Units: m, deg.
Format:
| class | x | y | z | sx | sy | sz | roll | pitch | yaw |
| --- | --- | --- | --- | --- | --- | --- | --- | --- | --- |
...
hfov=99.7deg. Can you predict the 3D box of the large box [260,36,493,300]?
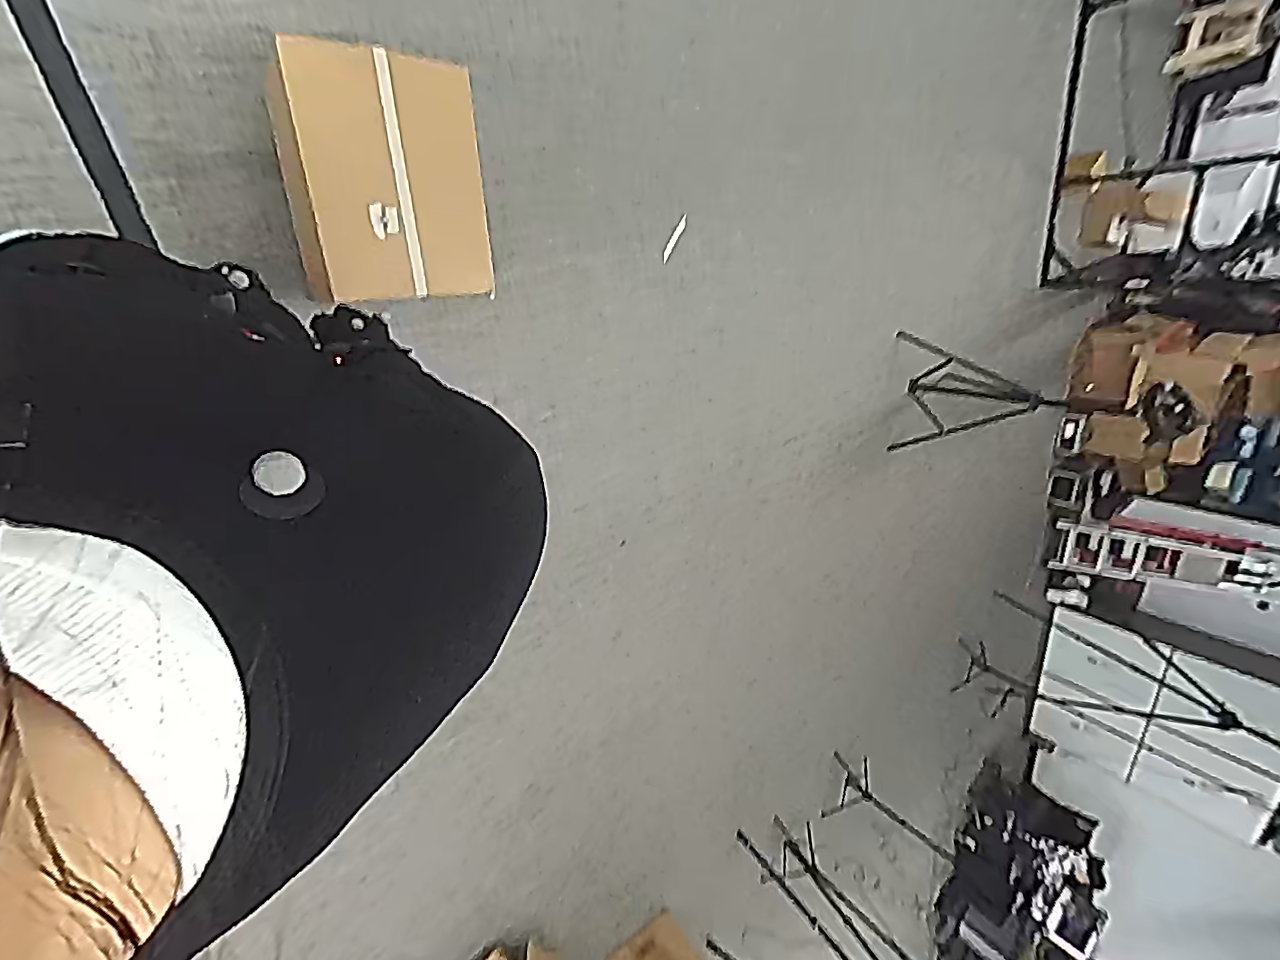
| class | x | y | z | sx | sy | sz | roll | pitch | yaw |
| --- | --- | --- | --- | --- | --- | --- | --- | --- | --- |
| large box | -0.535 | -0.593 | 1.110 | 0.320 | 0.320 | 0.408 | -17 | 115 | -32 |
